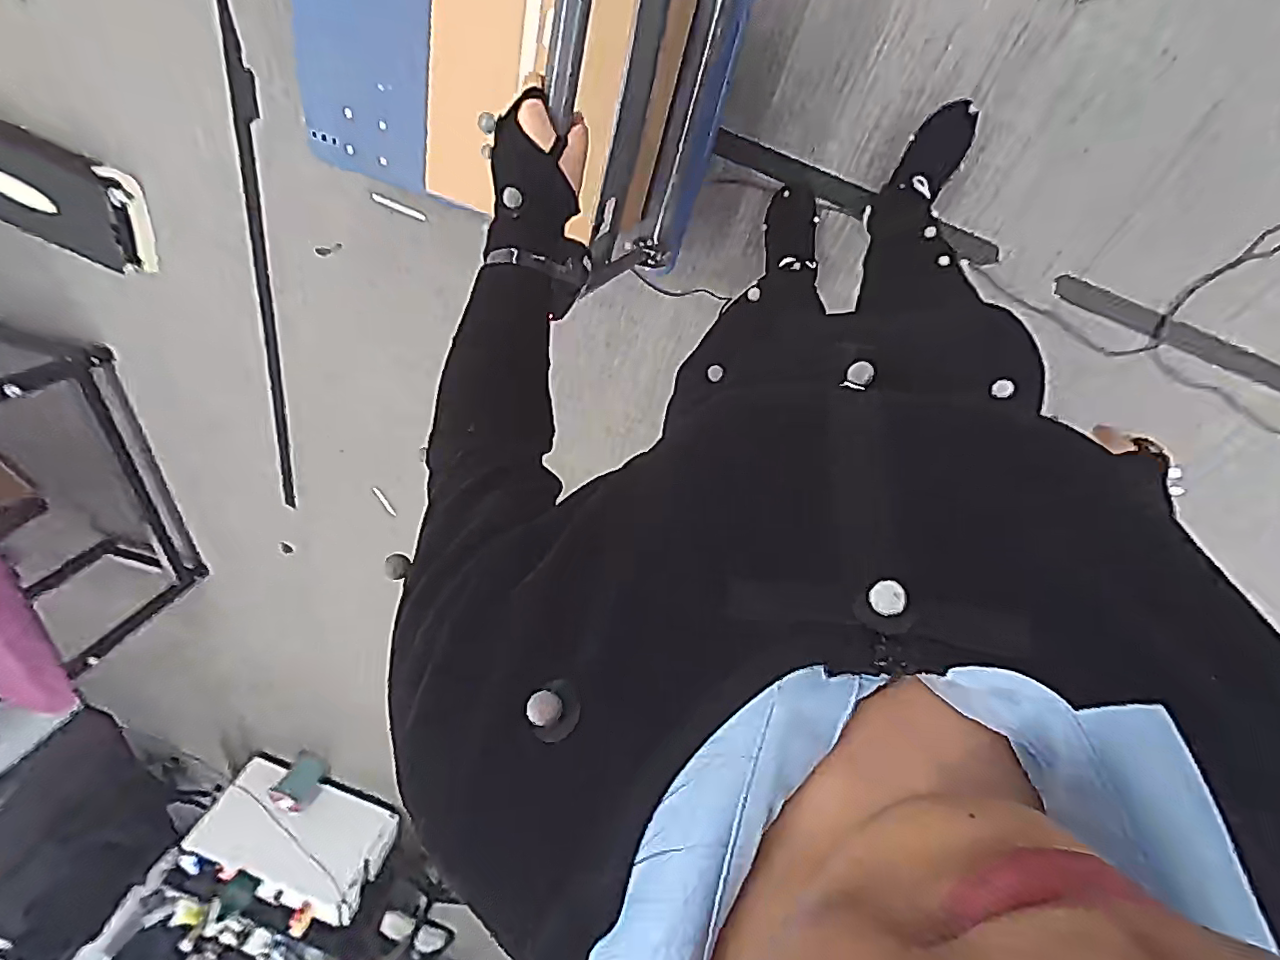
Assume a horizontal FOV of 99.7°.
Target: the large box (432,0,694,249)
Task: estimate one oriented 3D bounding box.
[{"bbox_3d":[-0.128,-0.667,0.927,0.320,0.320,0.408,20,124,2],"label":"large box"}]
